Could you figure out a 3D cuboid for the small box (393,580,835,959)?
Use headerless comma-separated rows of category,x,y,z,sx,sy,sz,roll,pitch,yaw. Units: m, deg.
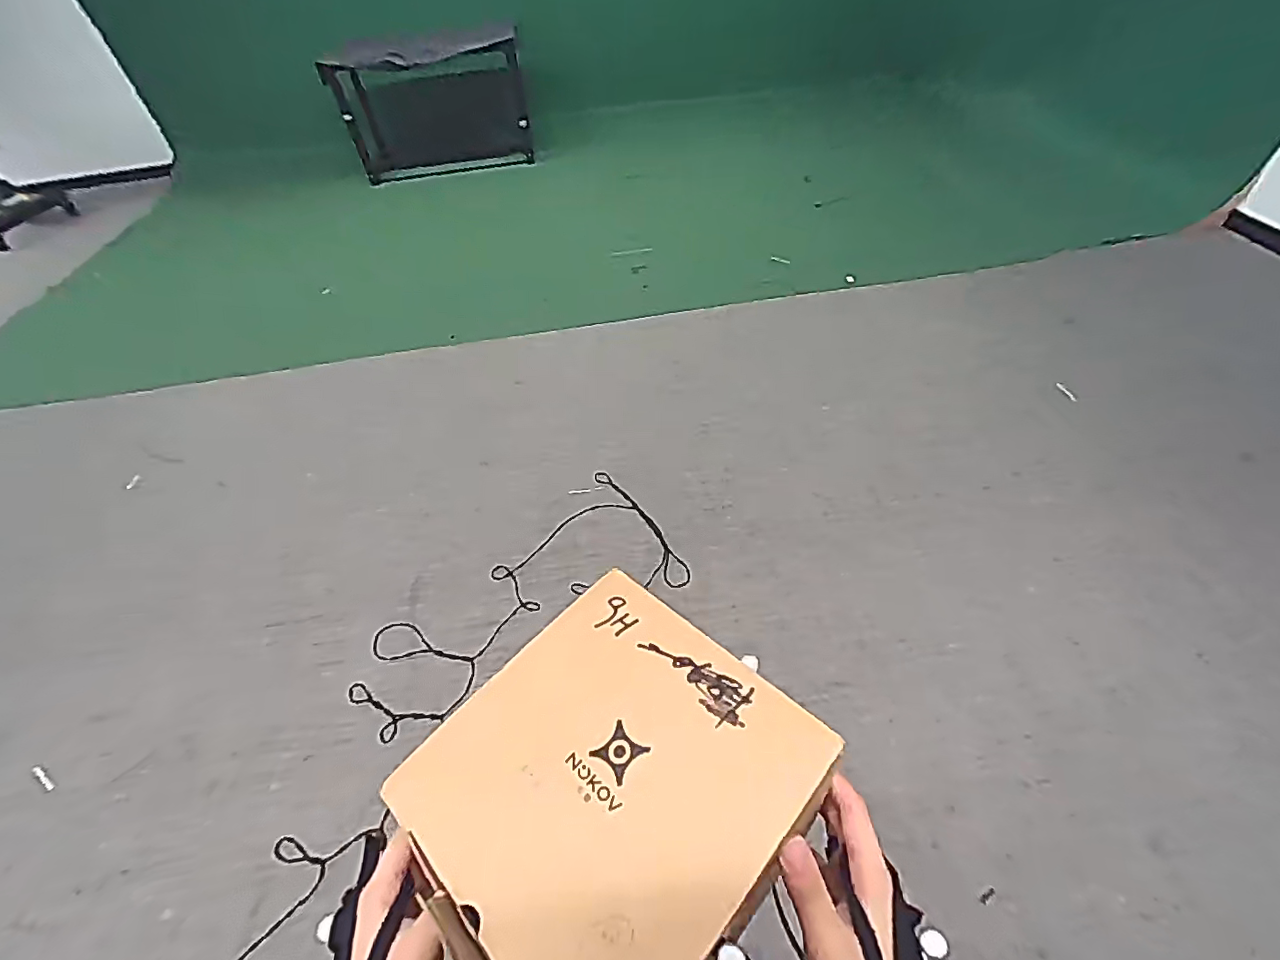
small box,-0.004,0.205,0.333,0.168,0.176,0.179,31,60,33
